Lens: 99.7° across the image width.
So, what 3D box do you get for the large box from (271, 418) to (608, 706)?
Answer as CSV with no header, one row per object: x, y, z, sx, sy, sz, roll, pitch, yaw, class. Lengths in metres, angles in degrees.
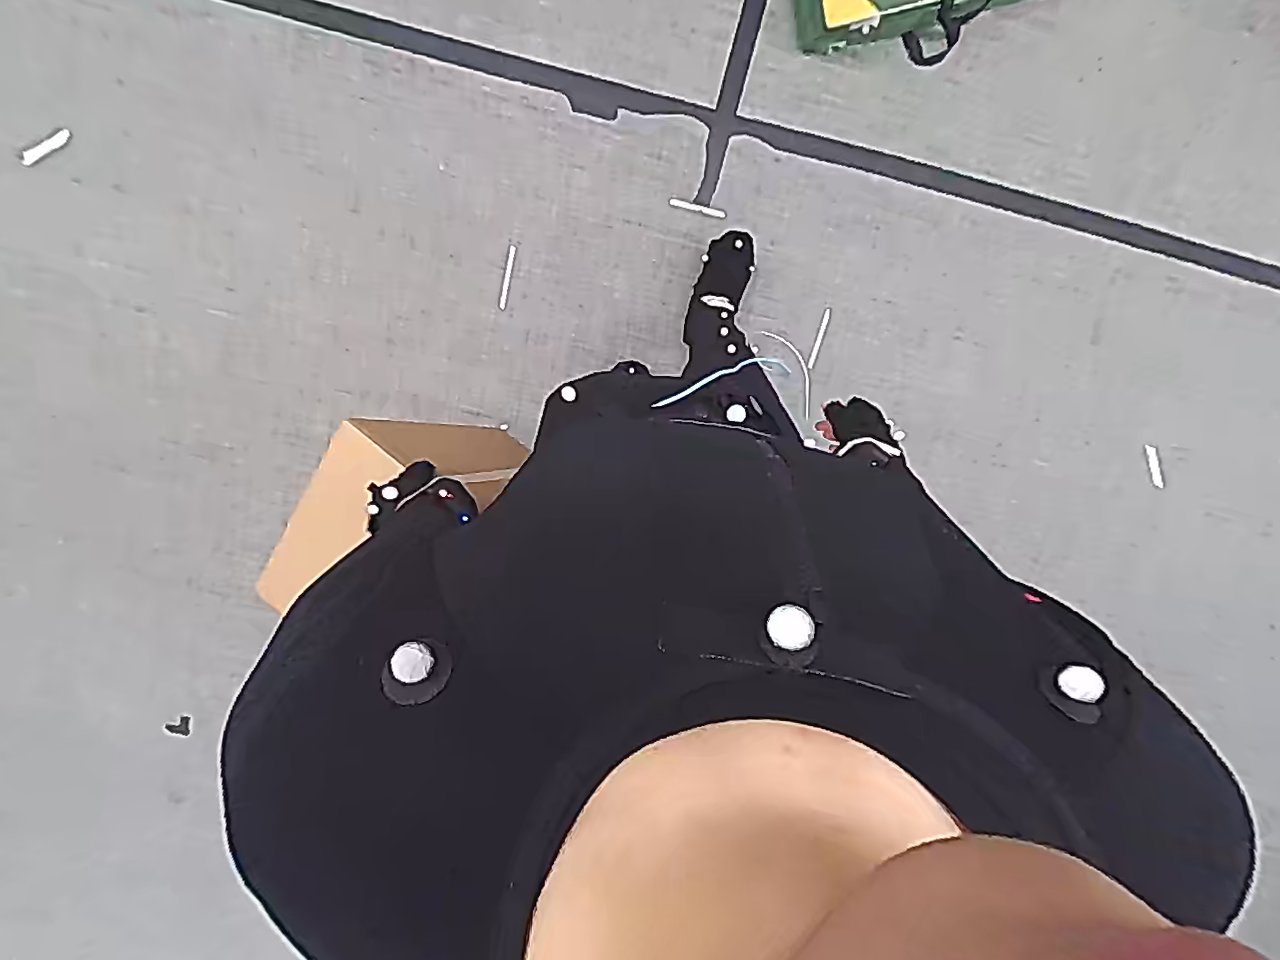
-0.318,0.108,0.955,0.320,0.408,0.320,38,103,11,large box
